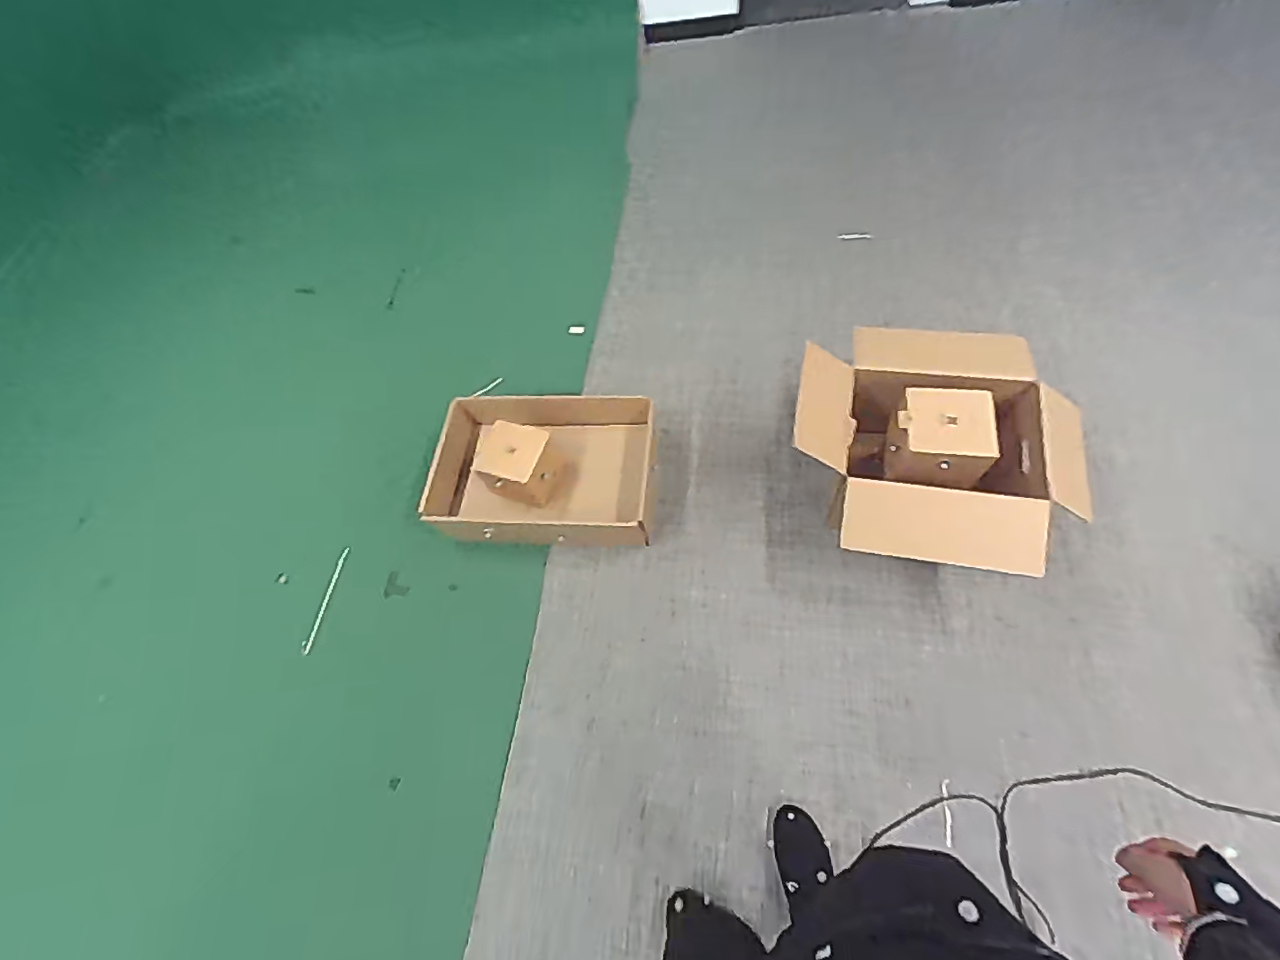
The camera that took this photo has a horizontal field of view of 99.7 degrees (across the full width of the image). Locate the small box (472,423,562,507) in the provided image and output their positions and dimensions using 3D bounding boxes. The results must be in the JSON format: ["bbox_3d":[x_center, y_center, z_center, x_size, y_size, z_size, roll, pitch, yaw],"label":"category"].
[{"bbox_3d":[-0.346,-0.038,1.560,0.179,0.176,0.168,13,65,15],"label":"small box"}]

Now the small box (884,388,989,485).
[{"bbox_3d":[0.676,-0.097,1.259,0.179,0.176,0.168,4,66,11],"label":"small box"}]
